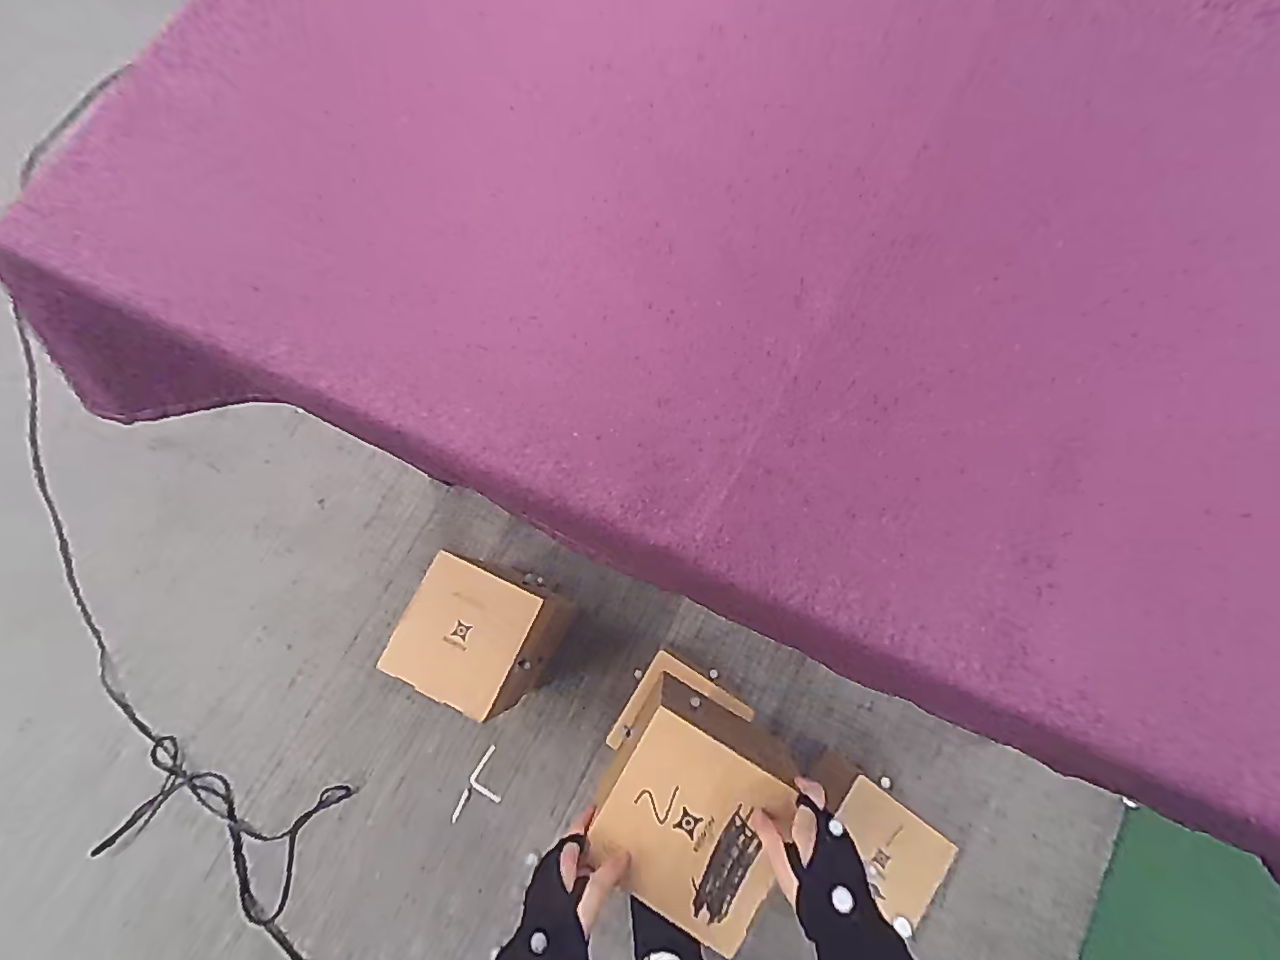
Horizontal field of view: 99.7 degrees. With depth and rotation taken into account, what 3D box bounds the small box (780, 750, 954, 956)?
[{"bbox_3d":[0.338,0.563,0.847,0.168,0.176,0.179,36,80,11],"label":"small box"}]
